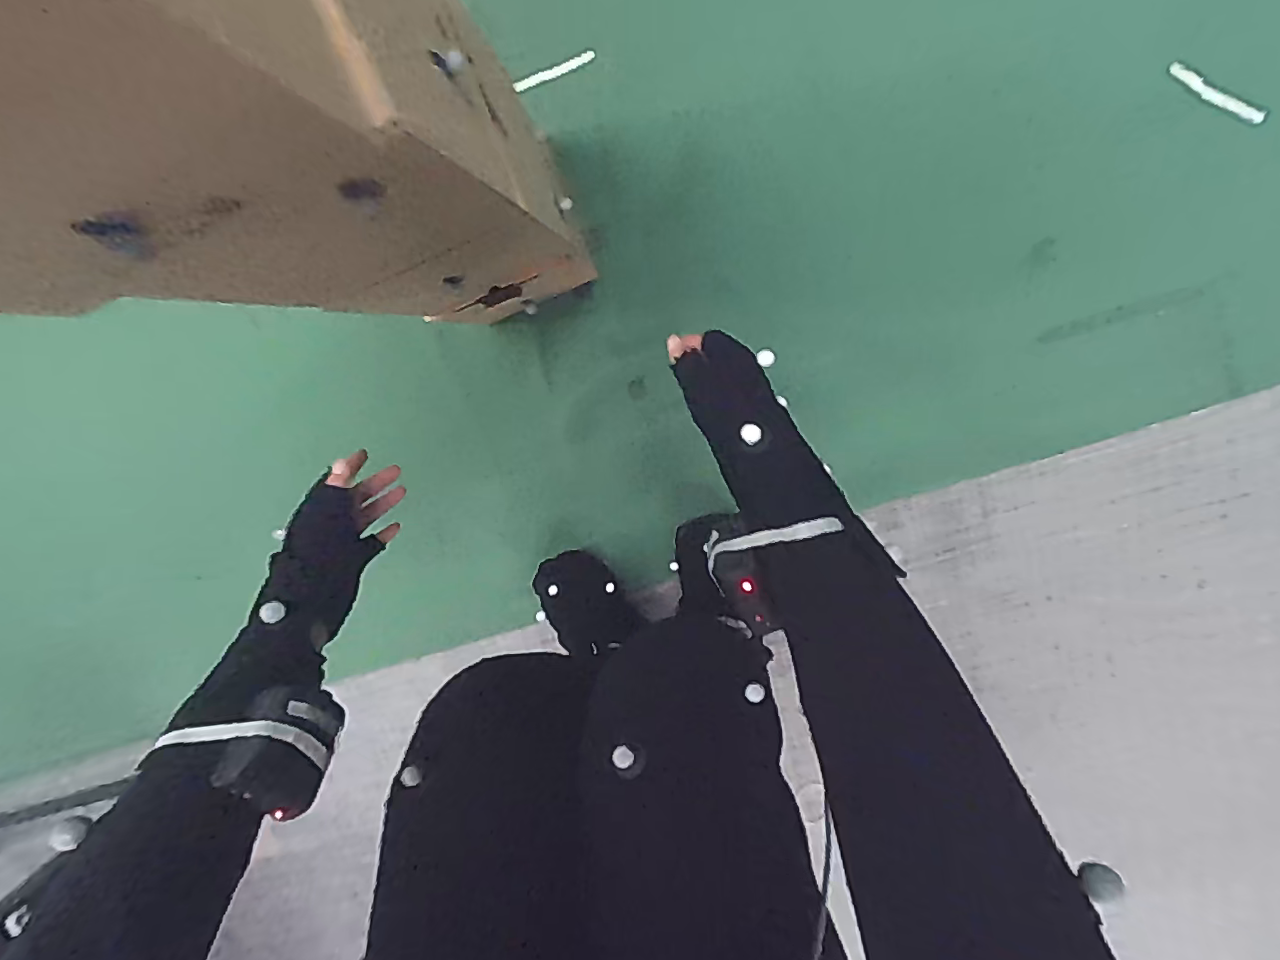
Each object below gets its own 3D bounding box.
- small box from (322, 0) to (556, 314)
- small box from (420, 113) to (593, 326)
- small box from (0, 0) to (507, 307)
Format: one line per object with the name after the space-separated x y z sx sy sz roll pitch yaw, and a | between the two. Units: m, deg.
-0.181 -0.246 0.444 0.179 0.176 0.168 -17 101 10 | small box
-0.169 -0.285 0.606 0.168 0.176 0.179 -19 102 11 | small box
-0.201 -0.205 0.291 0.179 0.176 0.168 -21 102 10 | small box
